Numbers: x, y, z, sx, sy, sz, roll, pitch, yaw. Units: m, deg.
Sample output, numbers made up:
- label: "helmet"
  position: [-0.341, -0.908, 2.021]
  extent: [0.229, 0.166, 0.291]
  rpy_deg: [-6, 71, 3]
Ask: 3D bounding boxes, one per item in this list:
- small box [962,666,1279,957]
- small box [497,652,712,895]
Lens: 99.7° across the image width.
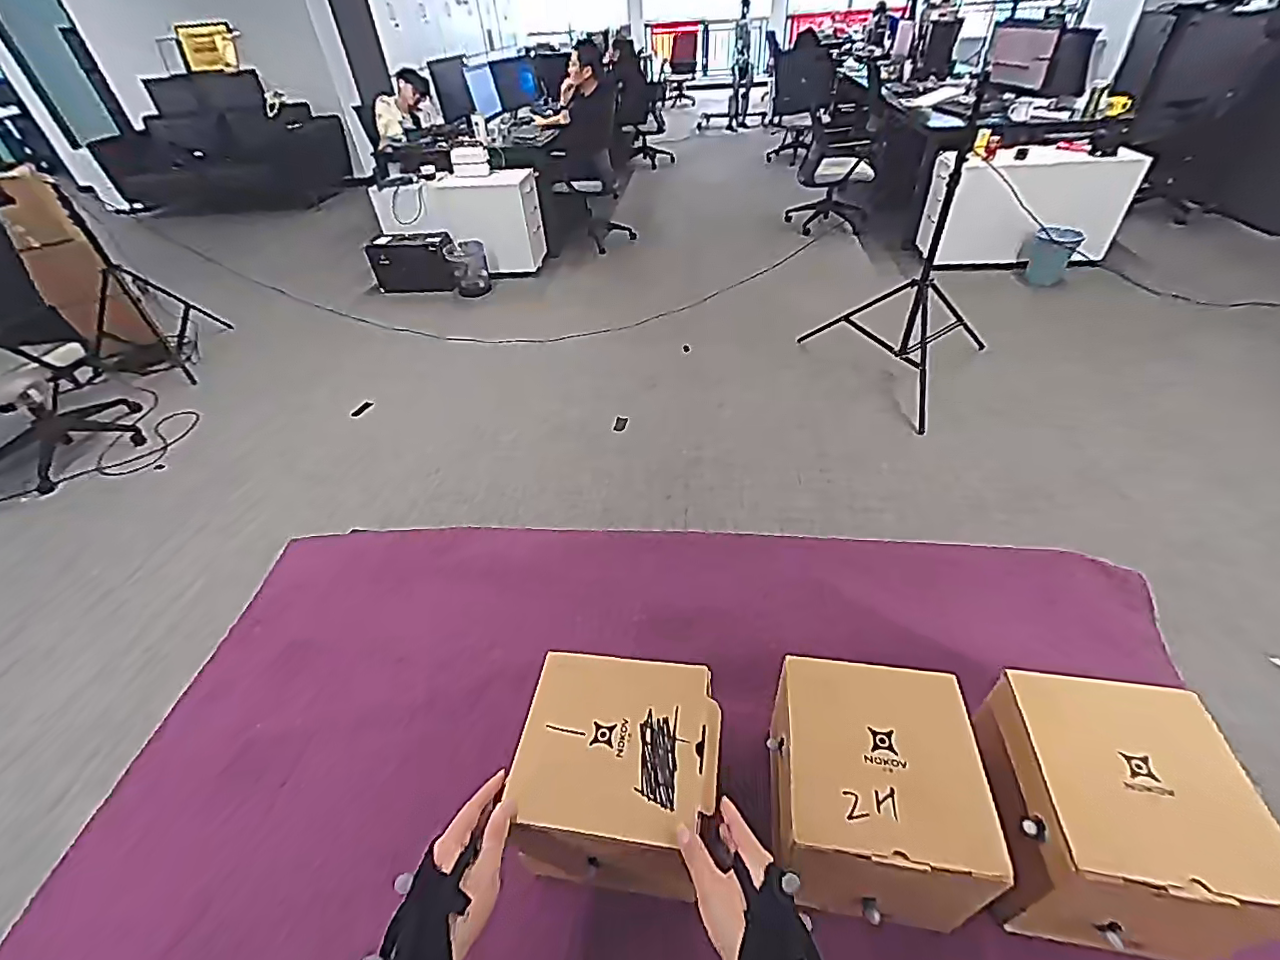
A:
- label: "small box"
  position: [0.432, 0.306, 0.508]
  extent: [0.168, 0.176, 0.179]
  rpy_deg: [3, 41, 10]
- label: "small box"
  position: [-0.019, 0.304, 0.560]
  extent: [0.179, 0.176, 0.168]
  rpy_deg: [2, 42, 10]
